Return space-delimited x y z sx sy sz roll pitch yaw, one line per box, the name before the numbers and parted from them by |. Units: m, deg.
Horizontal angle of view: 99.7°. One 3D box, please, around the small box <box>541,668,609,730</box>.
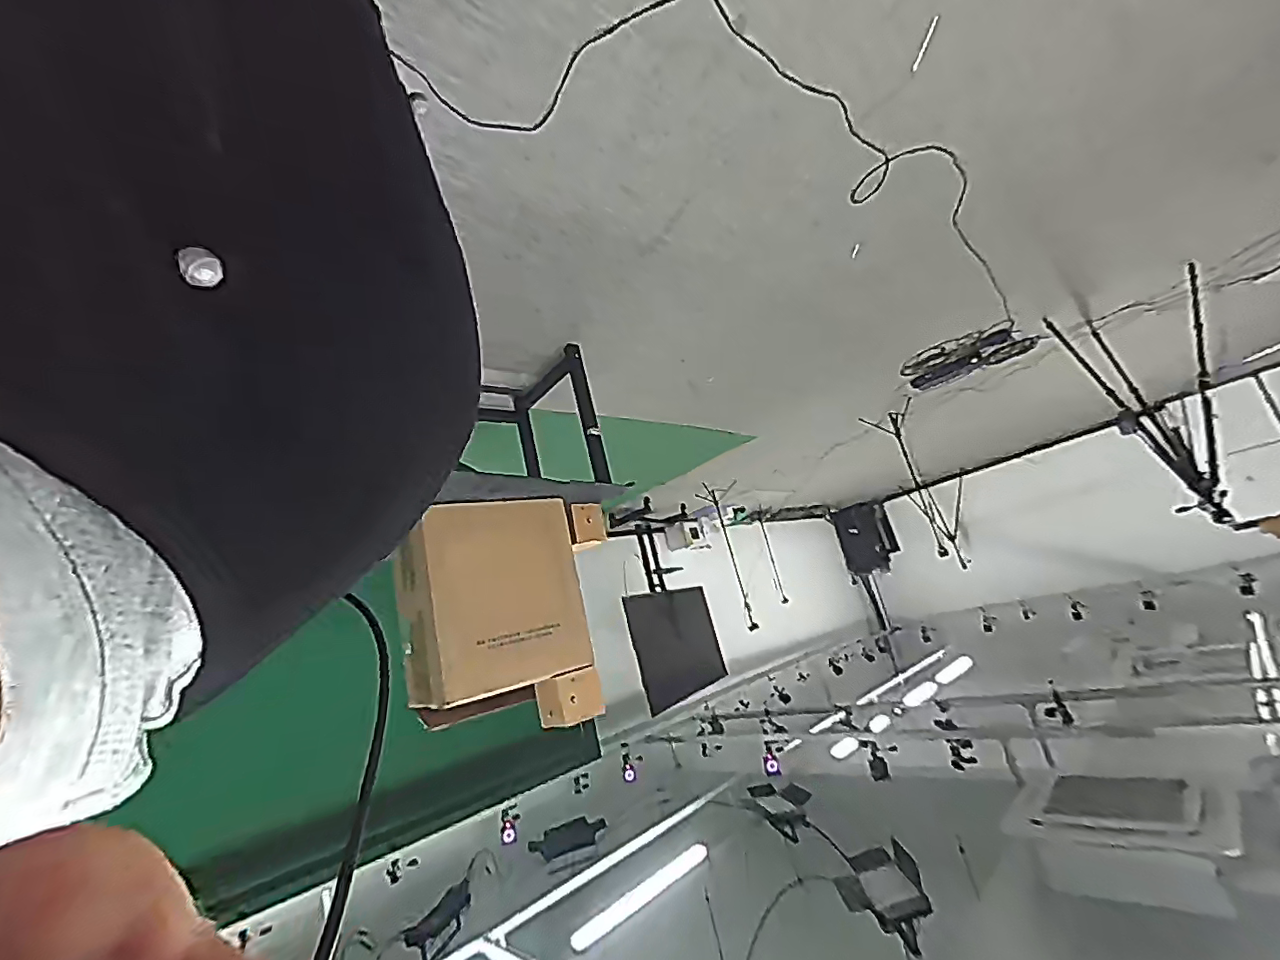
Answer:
small box | -0.236 0.771 1.914 0.168 0.176 0.179 -2 162 -39
